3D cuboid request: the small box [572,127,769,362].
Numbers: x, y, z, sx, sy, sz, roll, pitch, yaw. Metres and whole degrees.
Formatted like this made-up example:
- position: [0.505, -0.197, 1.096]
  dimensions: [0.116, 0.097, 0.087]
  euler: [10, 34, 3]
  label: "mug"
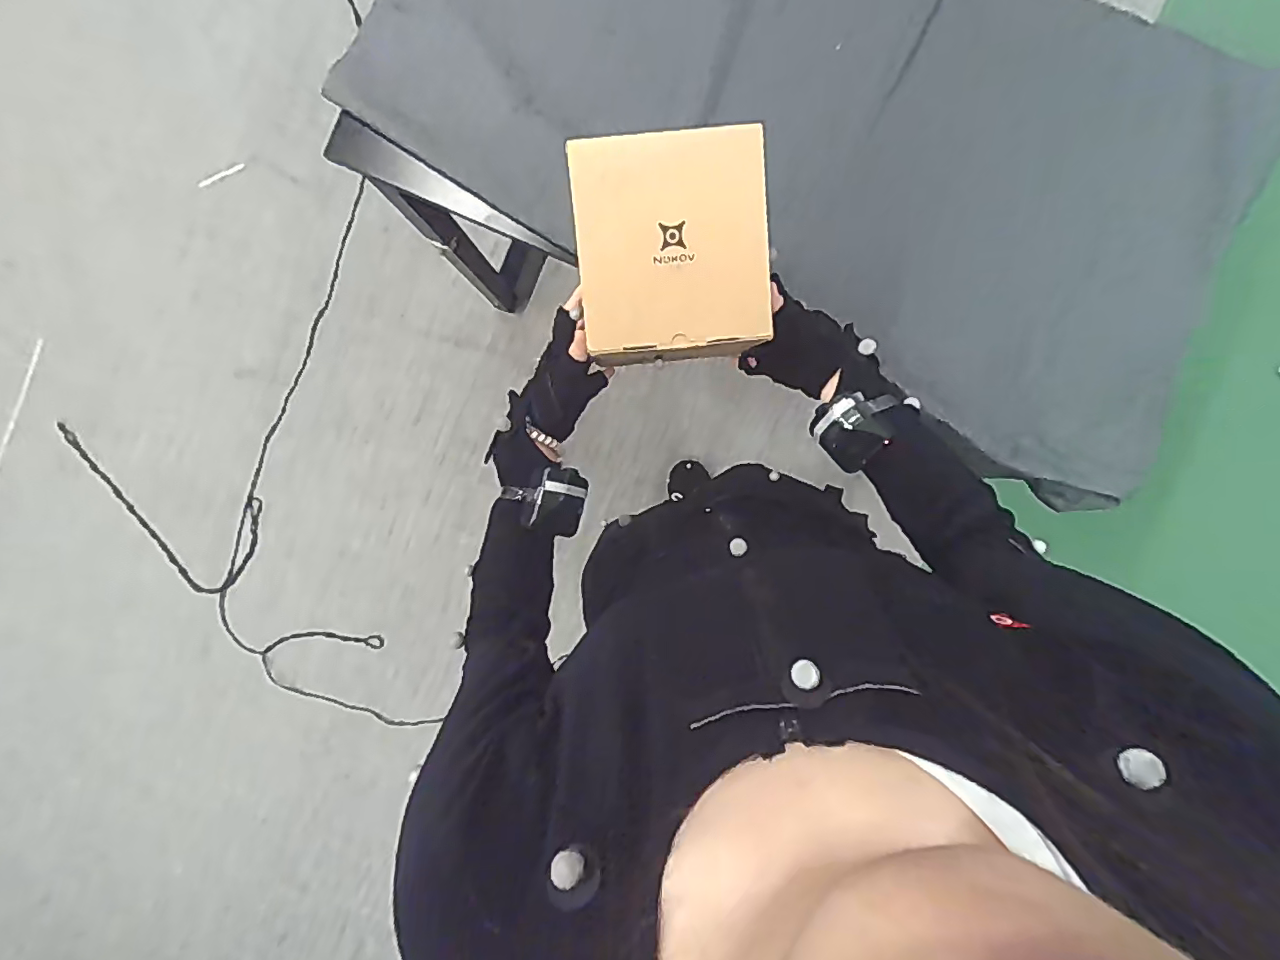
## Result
- position: [0.025, -0.220, 0.549]
  dimensions: [0.168, 0.176, 0.179]
  euler: [-5, 99, -1]
  label: "small box"
